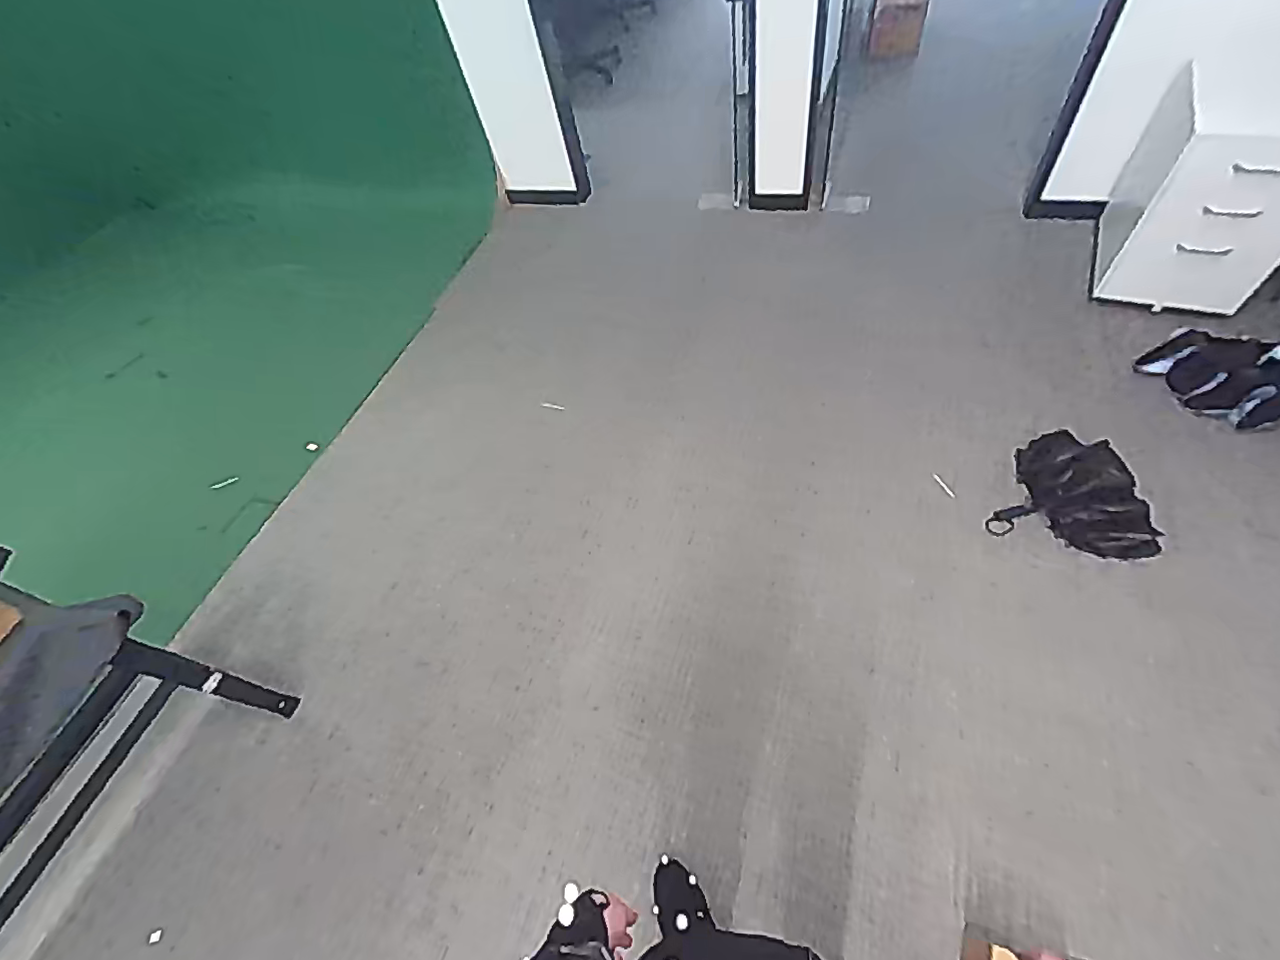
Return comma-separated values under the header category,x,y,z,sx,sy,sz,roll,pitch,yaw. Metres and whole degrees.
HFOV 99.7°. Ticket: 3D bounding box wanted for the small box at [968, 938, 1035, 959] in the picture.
category,x,y,z,sx,sy,sz,roll,pitch,yaw
small box,0.711,0.978,0.988,0.179,0.176,0.168,14,59,21
